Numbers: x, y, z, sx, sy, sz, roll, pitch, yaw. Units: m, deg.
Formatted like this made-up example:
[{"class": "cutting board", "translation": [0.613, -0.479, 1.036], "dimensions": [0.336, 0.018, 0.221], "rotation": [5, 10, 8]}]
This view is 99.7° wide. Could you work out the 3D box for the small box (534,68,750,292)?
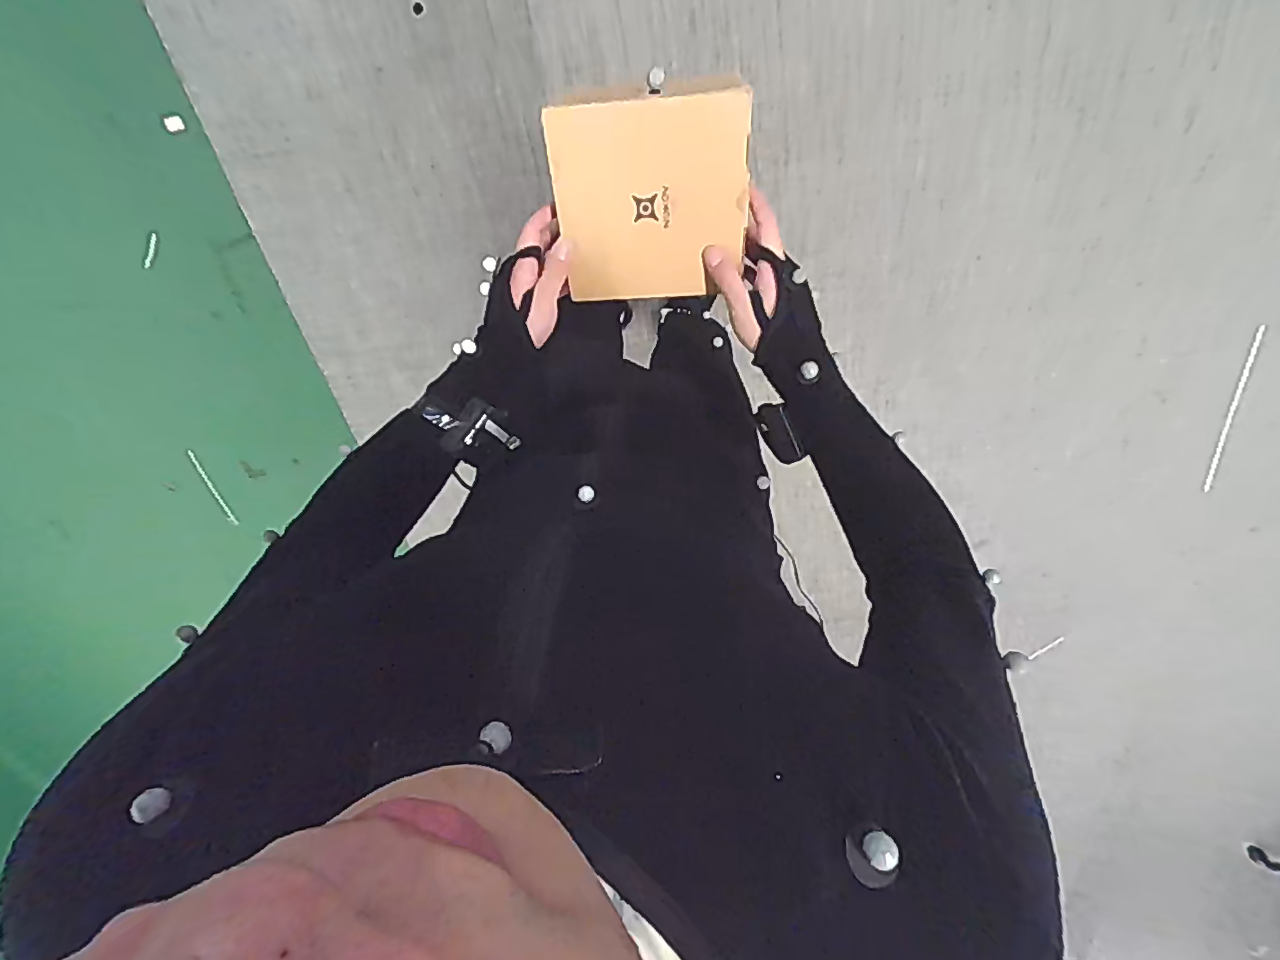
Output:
[{"class": "small box", "translation": [0.011, -0.299, 0.538], "dimensions": [0.179, 0.176, 0.168], "rotation": [-2, 129, 5]}]
